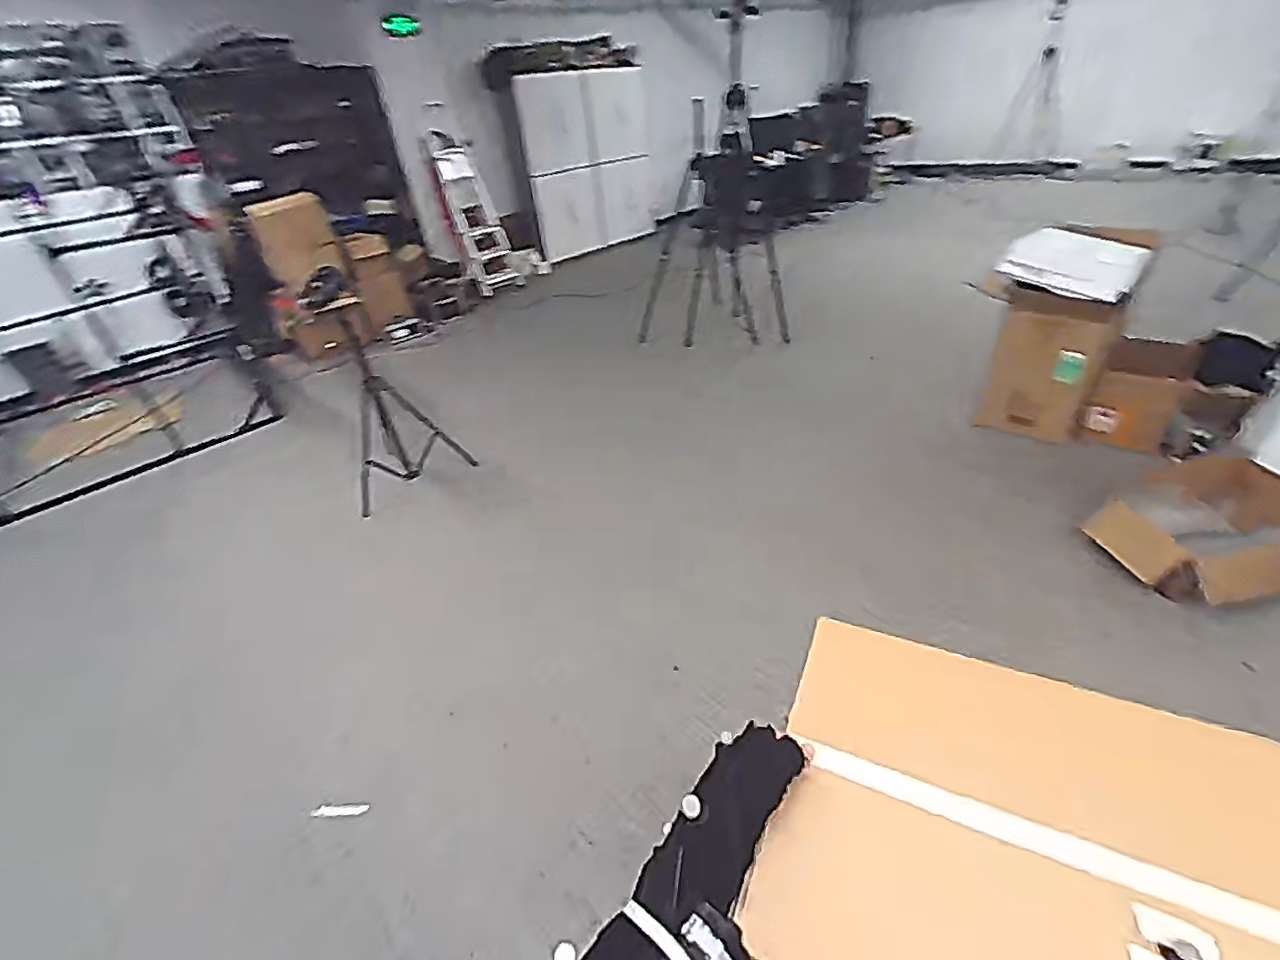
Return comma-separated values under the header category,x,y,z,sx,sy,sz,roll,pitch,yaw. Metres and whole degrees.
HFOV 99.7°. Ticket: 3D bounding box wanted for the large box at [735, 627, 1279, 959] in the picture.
category,x,y,z,sx,sy,sz,roll,pitch,yaw
large box,0.326,0.402,0.513,0.408,0.320,0.320,11,41,25
